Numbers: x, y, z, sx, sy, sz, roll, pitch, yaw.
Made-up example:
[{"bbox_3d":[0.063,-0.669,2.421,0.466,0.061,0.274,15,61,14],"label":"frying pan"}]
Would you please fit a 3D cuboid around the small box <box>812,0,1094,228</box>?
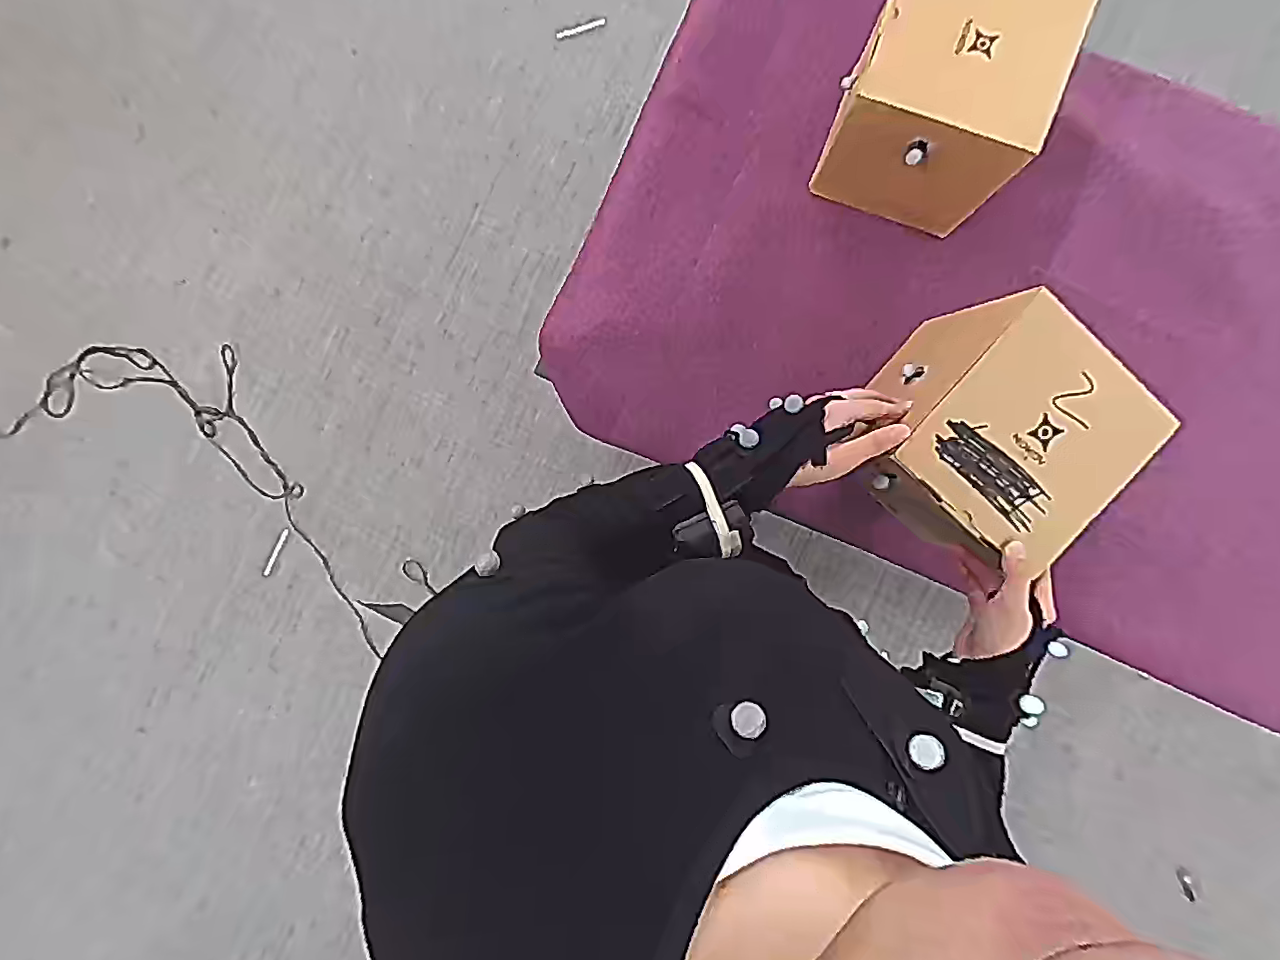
[{"bbox_3d":[0.311,-0.401,0.578,0.179,0.176,0.168,21,90,3],"label":"small box"}]
